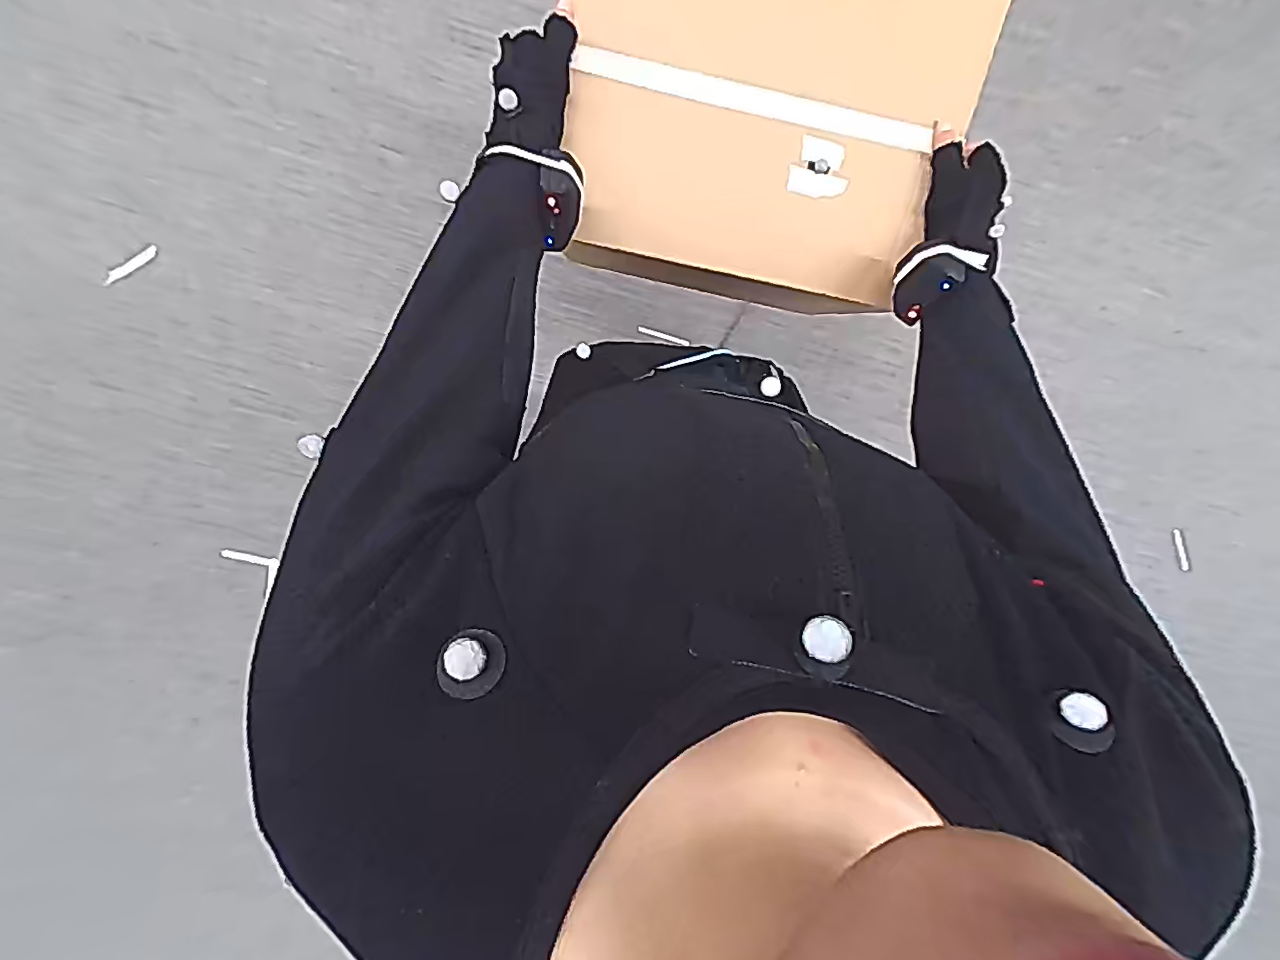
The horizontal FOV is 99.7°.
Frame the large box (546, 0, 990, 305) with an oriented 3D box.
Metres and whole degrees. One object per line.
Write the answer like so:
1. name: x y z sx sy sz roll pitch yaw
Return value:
1. large box: 0.113 -0.417 0.684 0.408 0.320 0.320 10 107 -5
